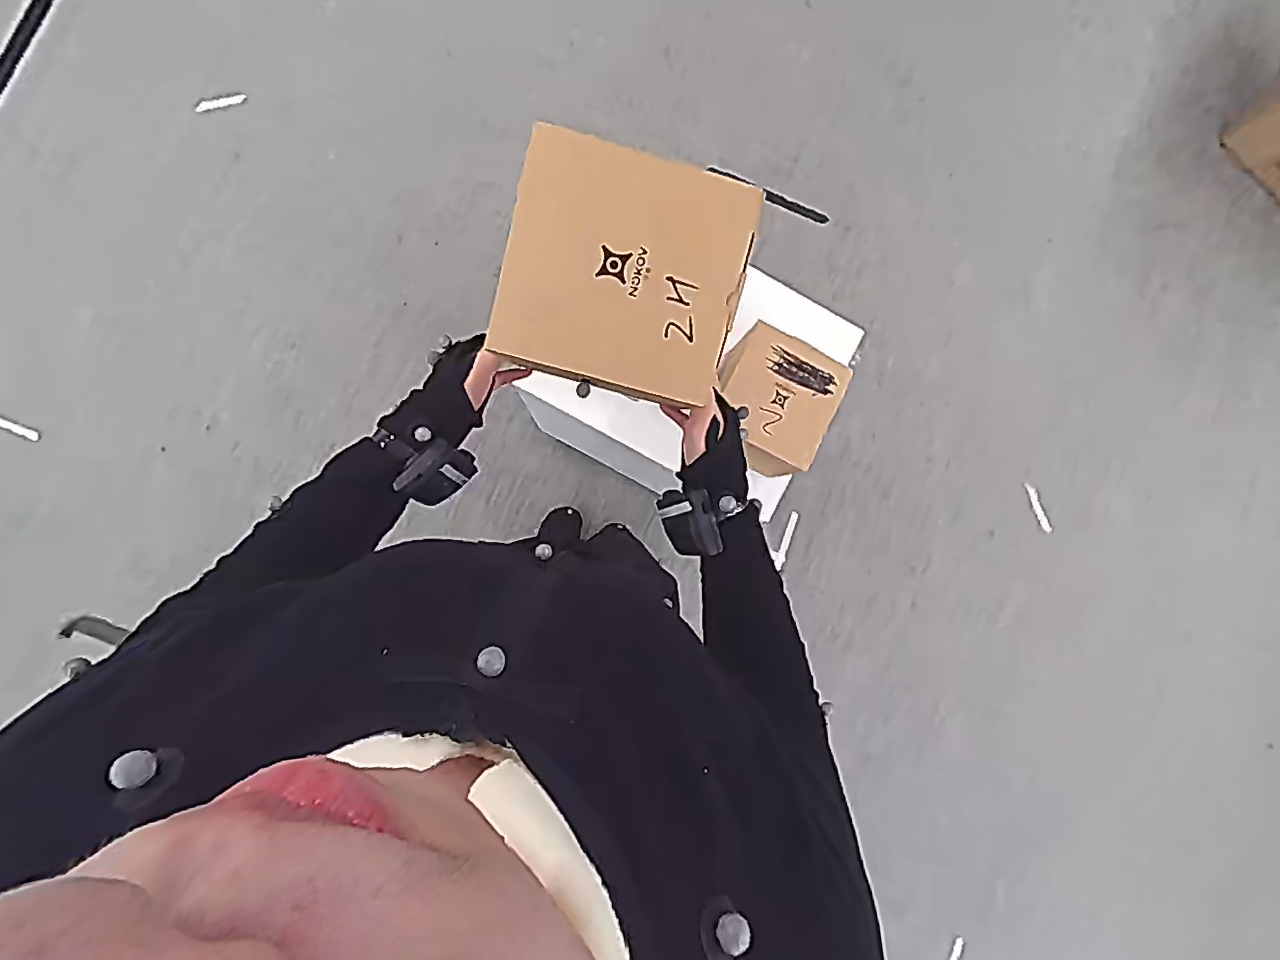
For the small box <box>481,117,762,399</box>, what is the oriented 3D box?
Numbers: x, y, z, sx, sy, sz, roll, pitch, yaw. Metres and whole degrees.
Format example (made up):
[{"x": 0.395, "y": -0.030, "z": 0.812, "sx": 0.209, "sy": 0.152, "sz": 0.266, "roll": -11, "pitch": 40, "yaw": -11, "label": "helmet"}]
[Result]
[{"x": -0.018, "y": -0.169, "z": 0.475, "sx": 0.179, "sy": 0.176, "sz": 0.168, "roll": 14, "pitch": 97, "yaw": -5, "label": "small box"}]
